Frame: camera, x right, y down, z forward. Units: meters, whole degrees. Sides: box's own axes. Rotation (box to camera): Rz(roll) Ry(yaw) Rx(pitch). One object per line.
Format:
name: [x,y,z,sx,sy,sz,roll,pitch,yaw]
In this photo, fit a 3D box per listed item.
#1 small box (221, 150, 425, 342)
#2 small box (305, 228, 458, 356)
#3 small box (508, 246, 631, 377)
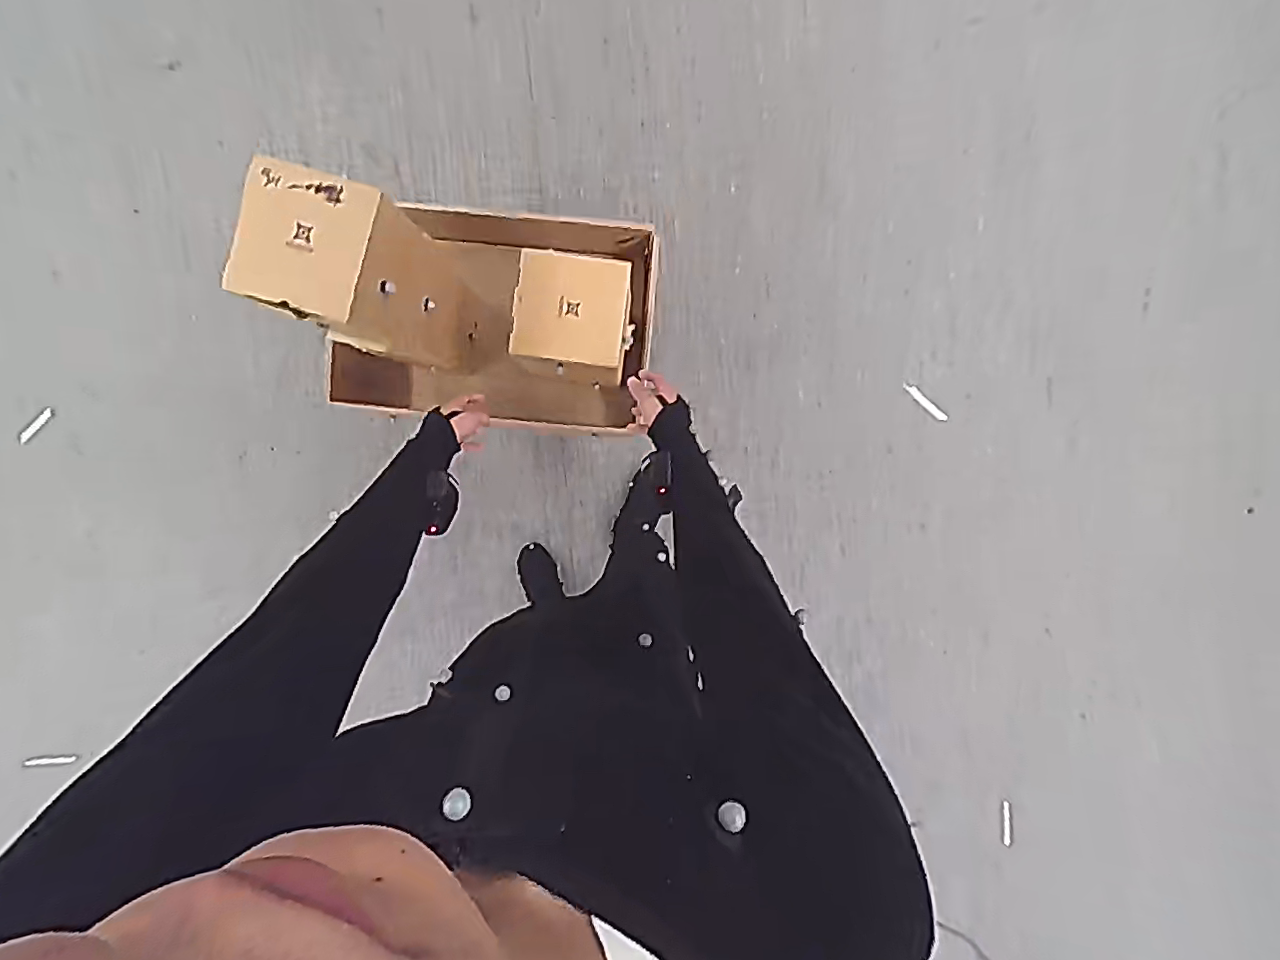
small box: [-0.422,-0.306,0.750,0.168,0.176,0.179,16,93,-2]
small box: [-0.424,-0.320,0.914,0.168,0.176,0.179,13,92,-1]
small box: [-0.111,-0.274,0.920,0.179,0.176,0.168,8,92,0]
